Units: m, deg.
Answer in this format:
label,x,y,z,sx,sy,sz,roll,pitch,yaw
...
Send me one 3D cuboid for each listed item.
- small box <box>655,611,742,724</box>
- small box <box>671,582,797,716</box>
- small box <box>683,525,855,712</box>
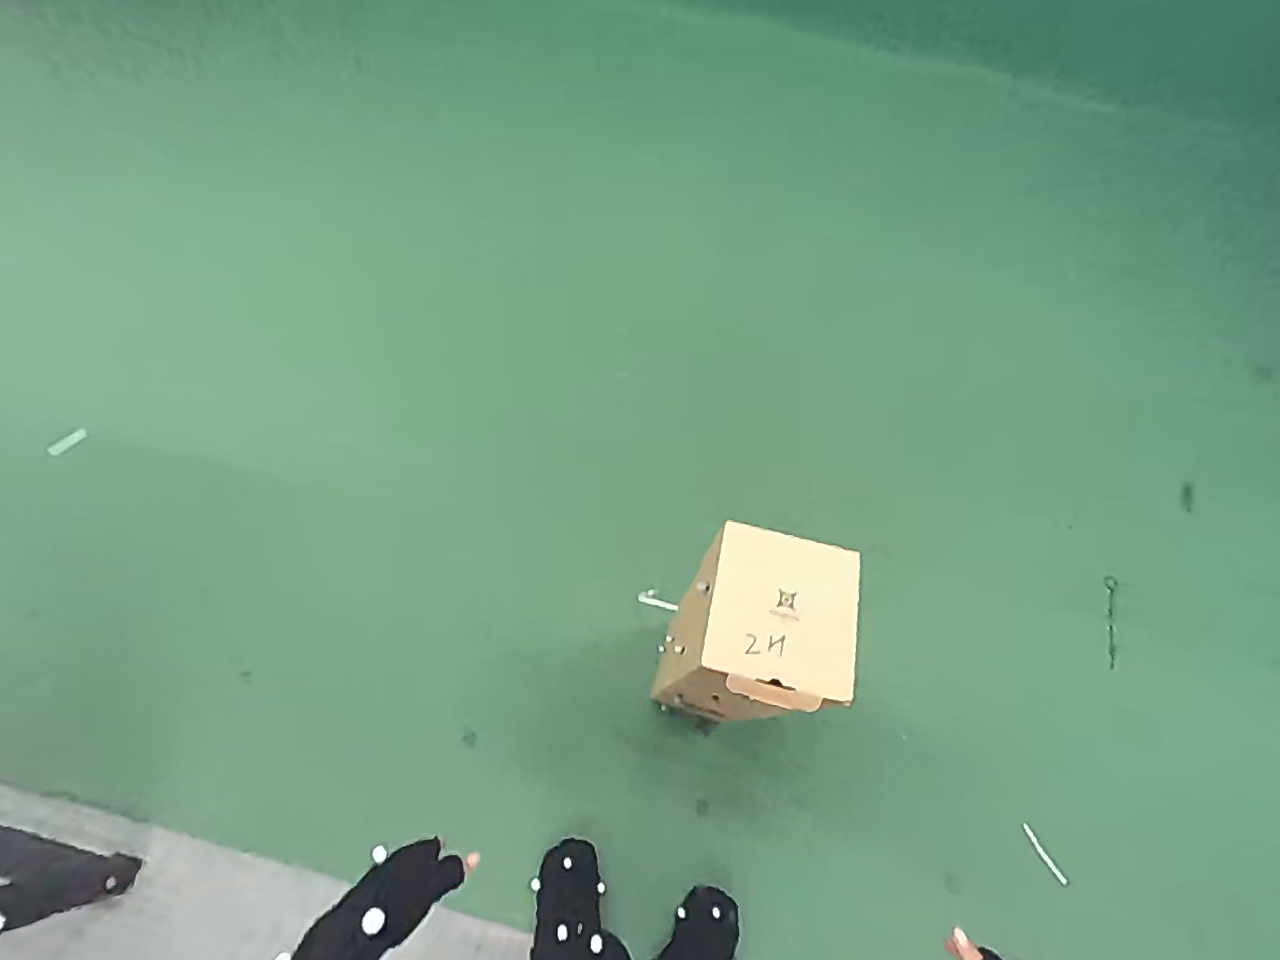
label,x,y,z,sx,sy,sz,roll,pitch,yaw
small box,0.131,0.398,1.131,0.168,0.176,0.179,16,64,4
small box,0.150,0.253,0.838,0.168,0.176,0.179,14,64,3
small box,0.156,0.183,0.689,0.168,0.176,0.179,14,64,3
